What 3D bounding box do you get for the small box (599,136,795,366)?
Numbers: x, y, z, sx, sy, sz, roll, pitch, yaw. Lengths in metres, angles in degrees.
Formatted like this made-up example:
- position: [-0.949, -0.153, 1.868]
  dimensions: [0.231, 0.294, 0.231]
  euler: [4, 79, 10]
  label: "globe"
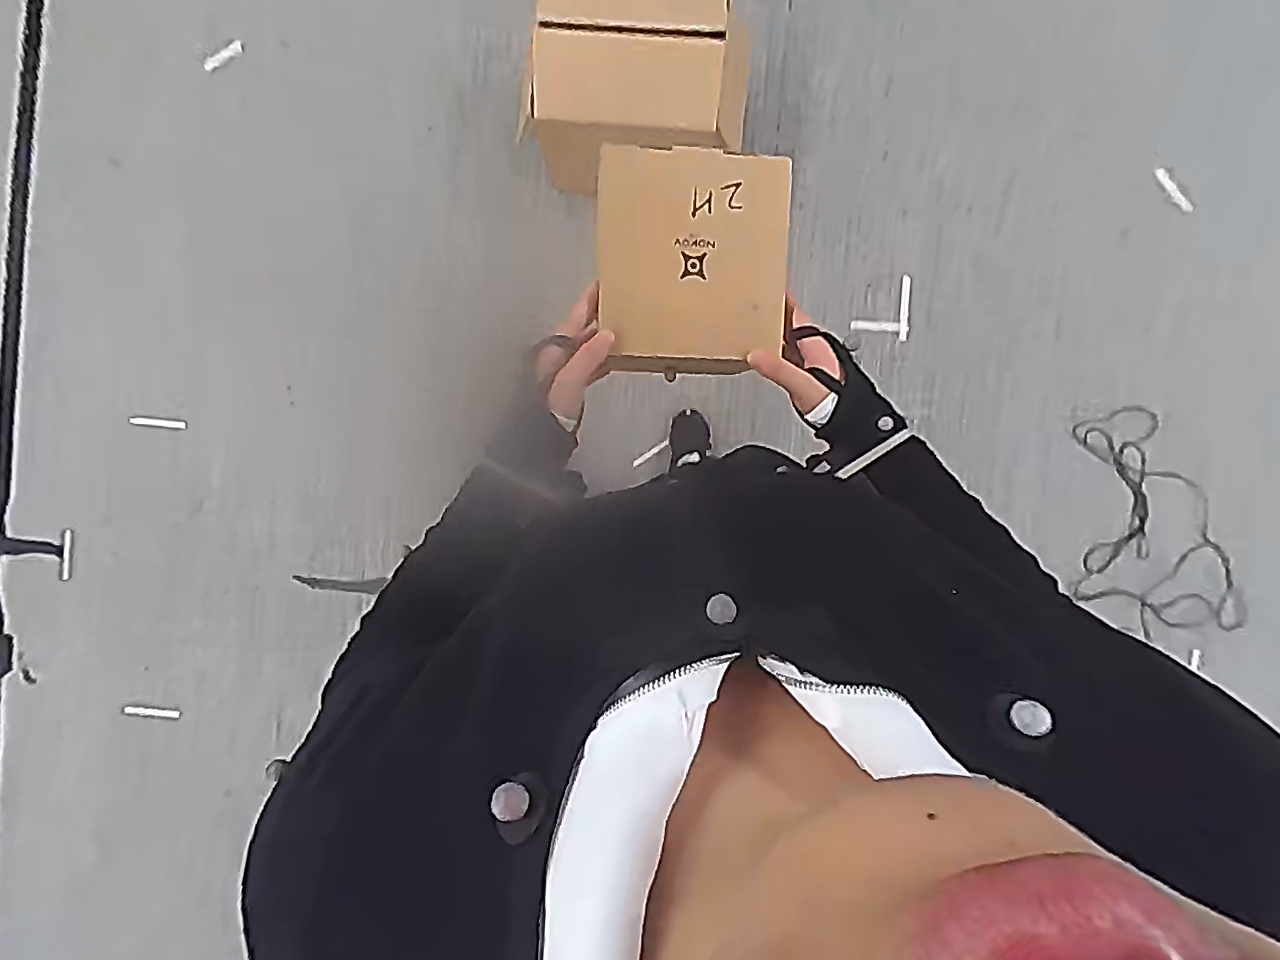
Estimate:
- position: [0.044, -0.213, 0.553]
  dimensions: [0.168, 0.176, 0.179]
  euler: [1, 96, -6]
  label: "small box"
